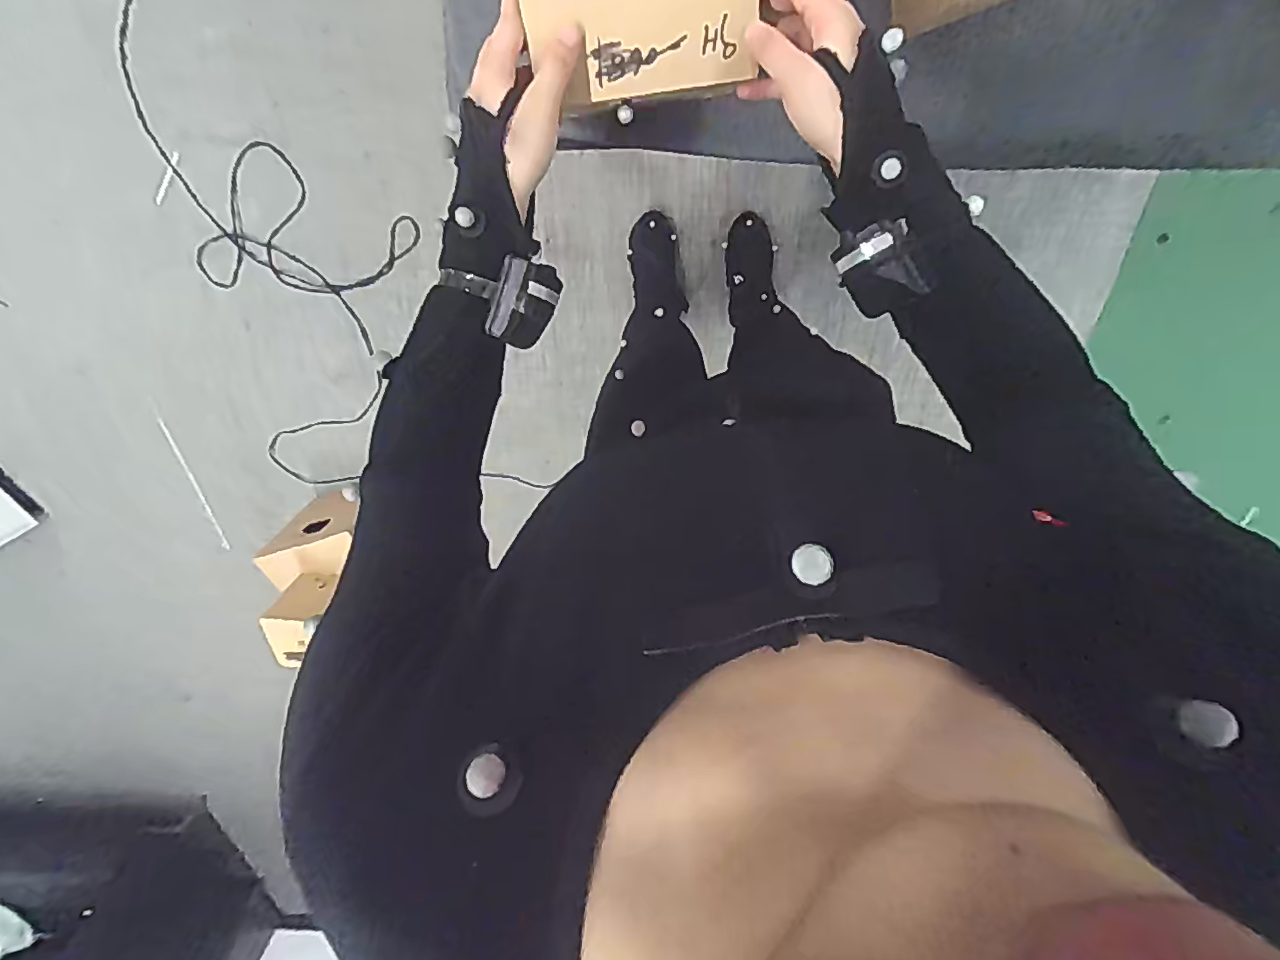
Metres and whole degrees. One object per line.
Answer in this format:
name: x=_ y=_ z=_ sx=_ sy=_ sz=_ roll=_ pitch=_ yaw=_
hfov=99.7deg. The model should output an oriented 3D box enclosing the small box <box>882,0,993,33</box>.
small box: x=0.283 y=-0.462 z=0.388 sx=0.179 sy=0.176 sz=0.168 roll=-15 pitch=118 yaw=10
